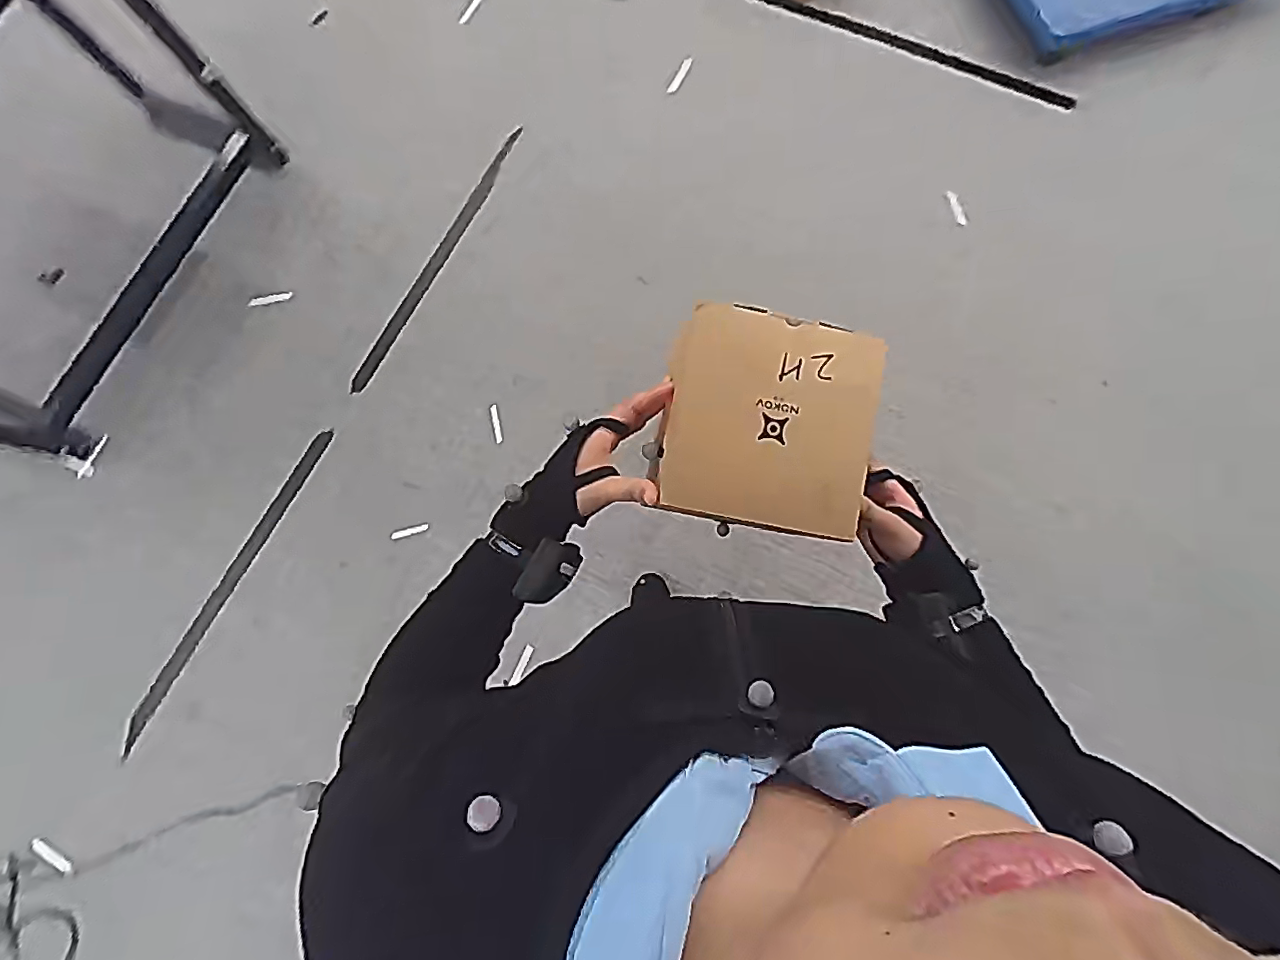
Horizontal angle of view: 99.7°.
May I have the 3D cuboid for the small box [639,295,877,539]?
[{"bbox_3d":[0.096,-0.047,0.517,0.168,0.176,0.179,10,85,-5],"label":"small box"}]
